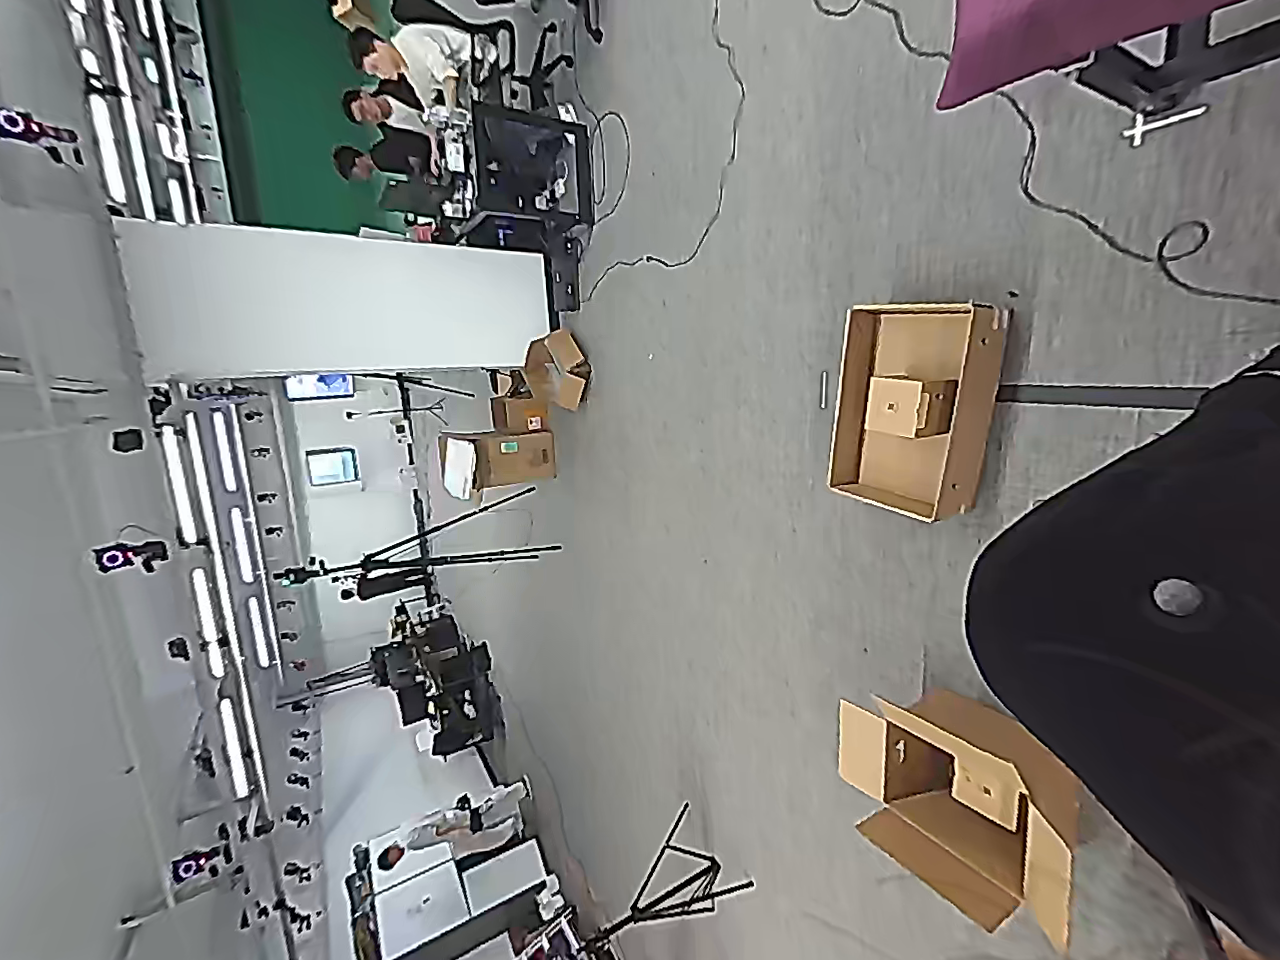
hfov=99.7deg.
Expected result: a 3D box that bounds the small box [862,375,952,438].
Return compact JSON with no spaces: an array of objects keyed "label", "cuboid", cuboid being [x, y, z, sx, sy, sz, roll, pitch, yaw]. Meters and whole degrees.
[{"label":"small box","cuboid":[0.813,-0.230,1.645,0.179,0.176,0.168,26,119,55]}]
